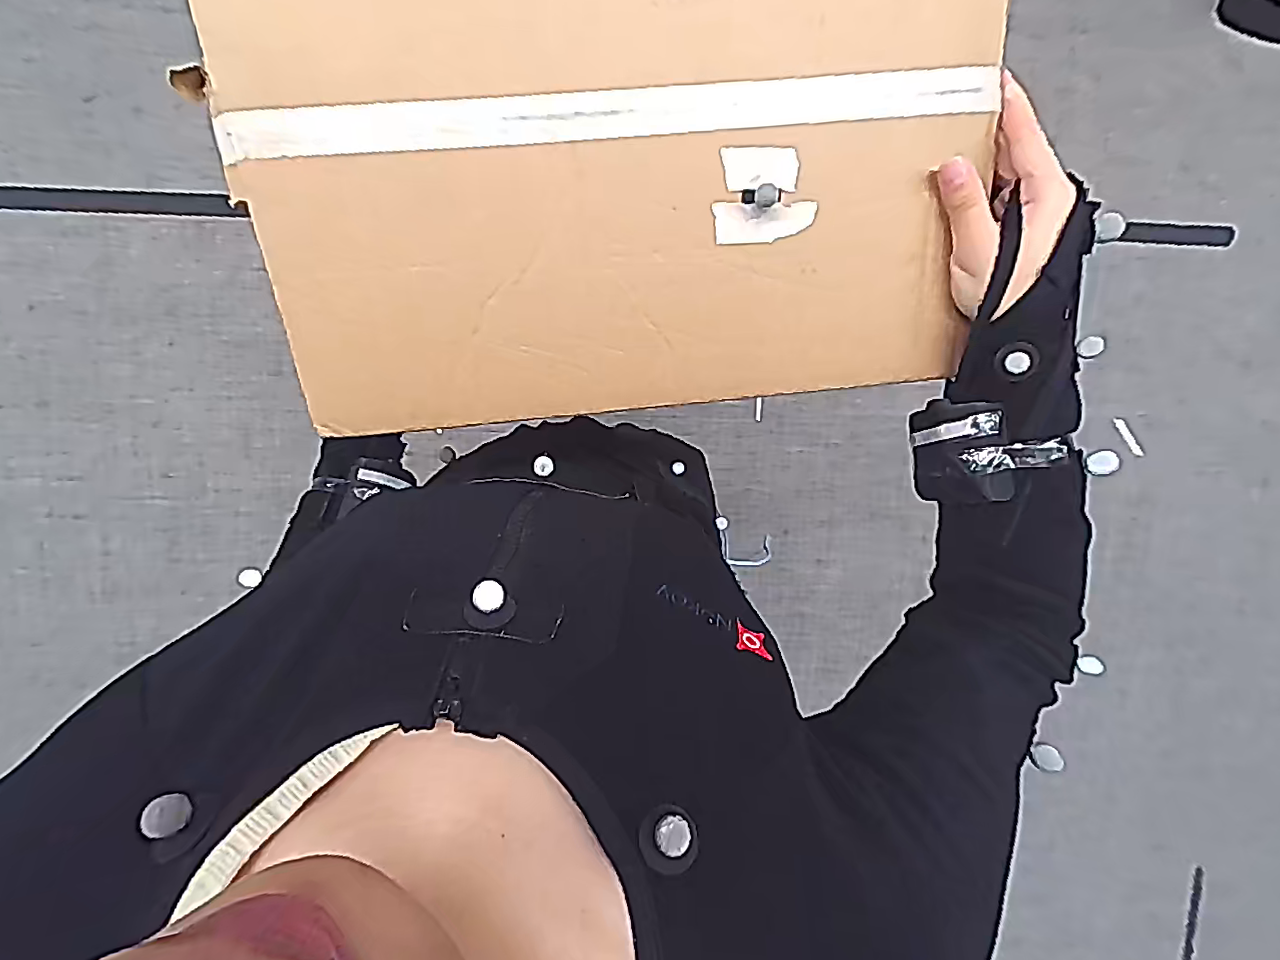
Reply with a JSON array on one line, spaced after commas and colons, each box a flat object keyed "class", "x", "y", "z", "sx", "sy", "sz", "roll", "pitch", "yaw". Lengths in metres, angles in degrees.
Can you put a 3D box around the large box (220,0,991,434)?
[{"class": "large box", "x": -0.021, "y": -0.242, "z": 0.436, "sx": 0.408, "sy": 0.320, "sz": 0.320, "roll": -7, "pitch": 110, "yaw": -5}]
